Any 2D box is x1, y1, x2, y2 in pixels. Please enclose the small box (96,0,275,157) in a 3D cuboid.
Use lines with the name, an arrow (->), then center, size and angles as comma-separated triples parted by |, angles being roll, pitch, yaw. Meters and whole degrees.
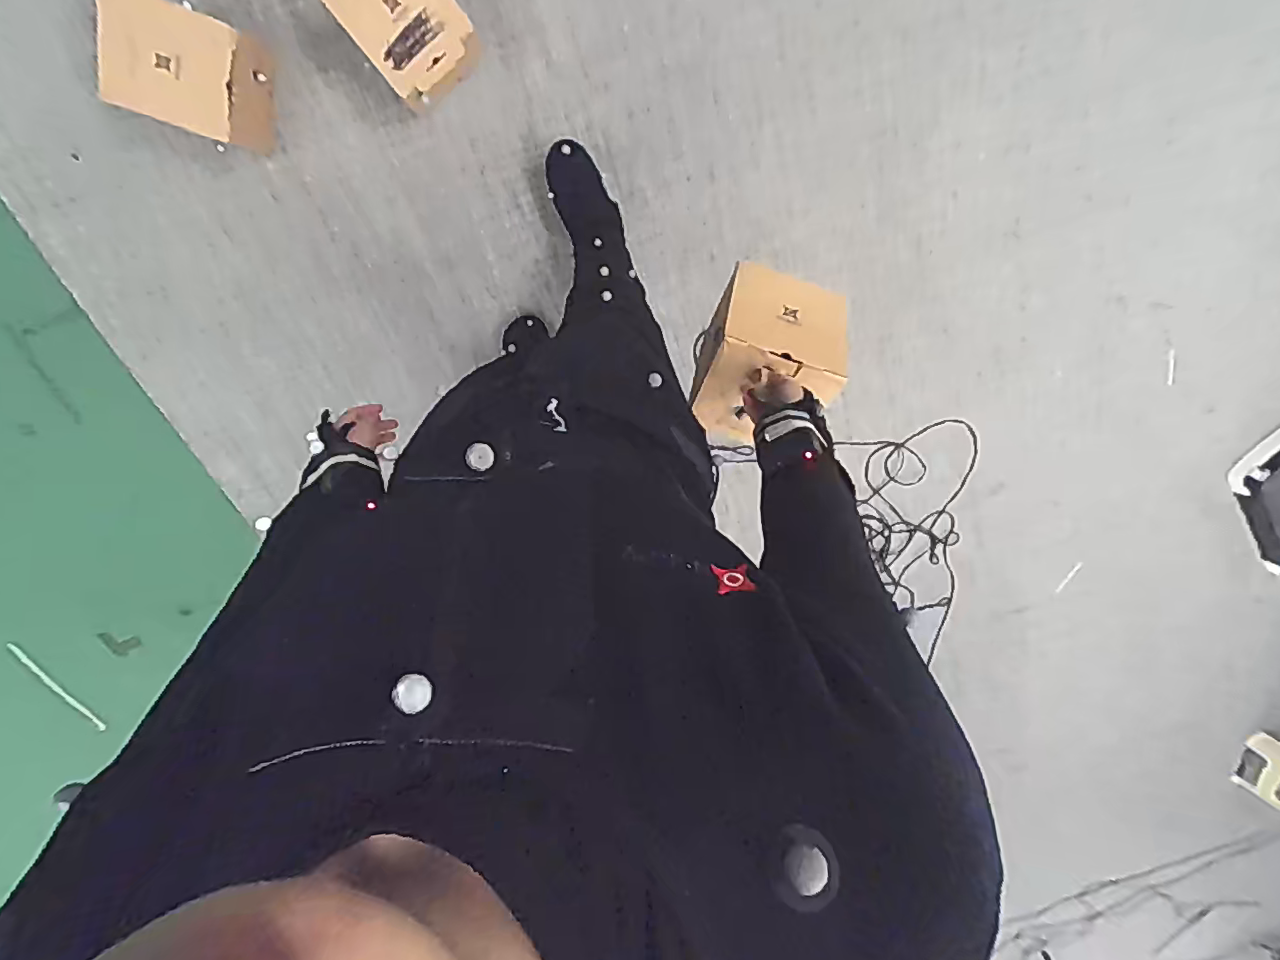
small box -> -0.738, -0.658, 0.896 | 0.179, 0.176, 0.168 | 13, 109, -16

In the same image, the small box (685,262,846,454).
small box -> 0.173, -0.168, 0.770 | 0.168, 0.179, 0.176 | 17, 144, -5
